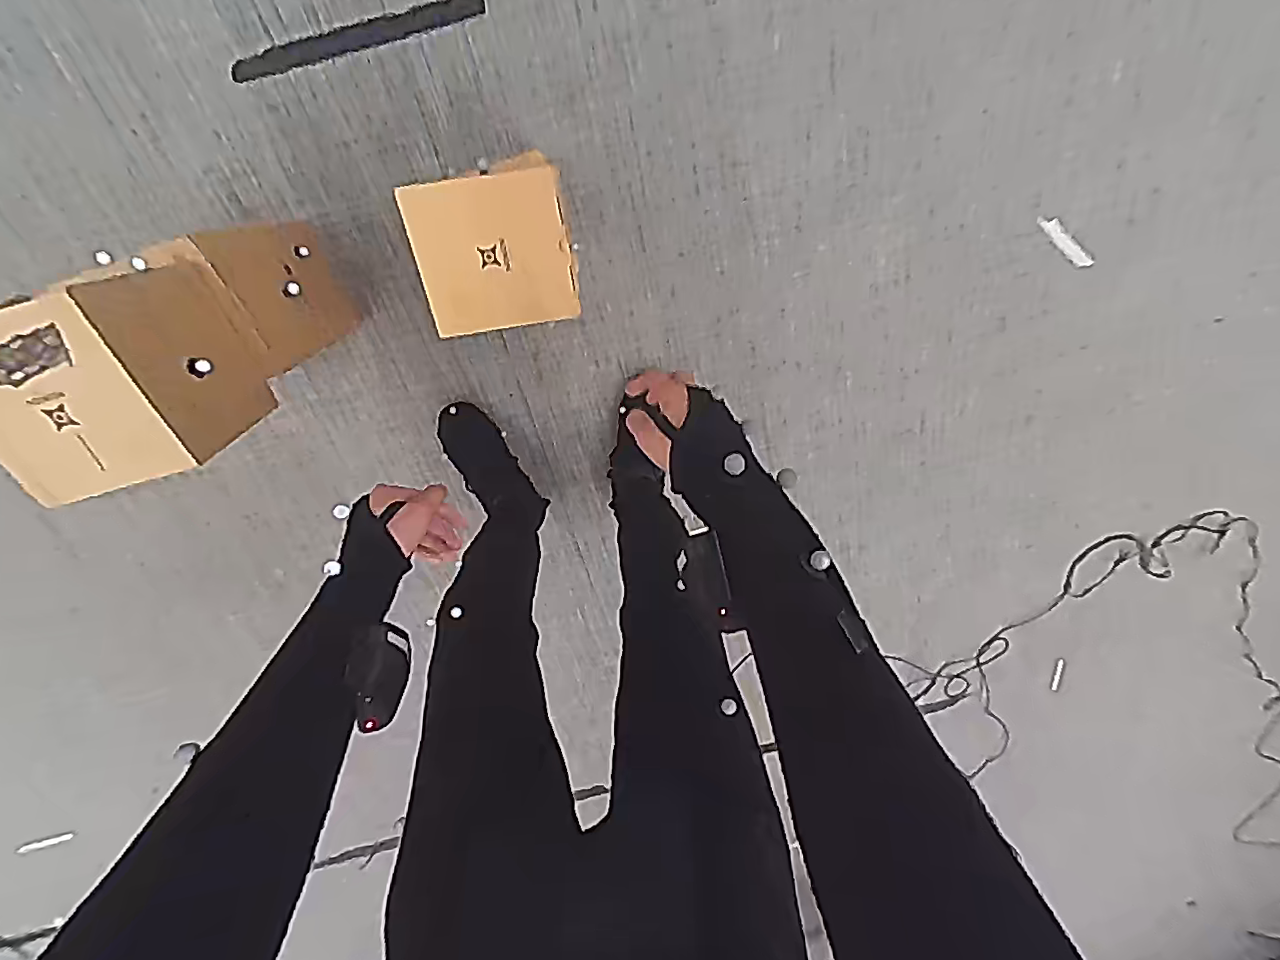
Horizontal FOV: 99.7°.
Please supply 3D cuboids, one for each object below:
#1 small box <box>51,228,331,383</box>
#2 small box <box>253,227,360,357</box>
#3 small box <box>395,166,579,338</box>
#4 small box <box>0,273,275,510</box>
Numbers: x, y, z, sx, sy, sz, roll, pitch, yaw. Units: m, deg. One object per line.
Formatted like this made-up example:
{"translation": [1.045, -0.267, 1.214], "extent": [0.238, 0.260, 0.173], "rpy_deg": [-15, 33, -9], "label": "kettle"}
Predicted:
{"translation": [-0.539, -0.204, 0.684], "extent": [0.179, 0.176, 0.168], "rpy_deg": [-18, 119, 3], "label": "small box"}
{"translation": [-0.570, -0.276, 0.829], "extent": [0.168, 0.176, 0.179], "rpy_deg": [-18, 120, 3], "label": "small box"}
{"translation": [-0.177, -0.291, 0.687], "extent": [0.179, 0.176, 0.168], "rpy_deg": [-10, 119, -3], "label": "small box"}
{"translation": [-0.530, -0.101, 0.554], "extent": [0.168, 0.176, 0.179], "rpy_deg": [-15, 120, 2], "label": "small box"}
